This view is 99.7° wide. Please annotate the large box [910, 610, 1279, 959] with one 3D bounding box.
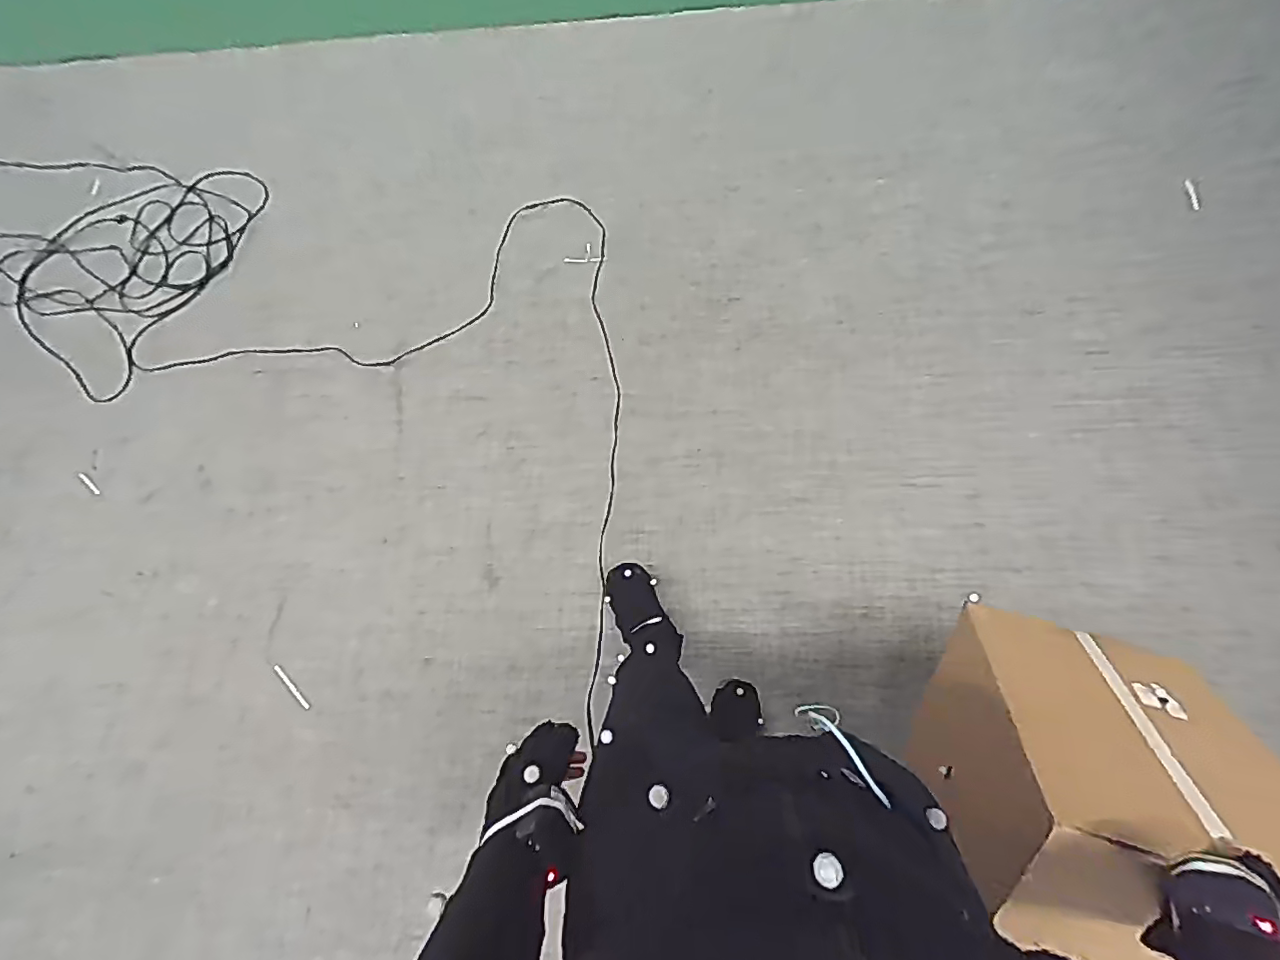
[{"bbox_3d":[0.585,0.444,0.713,0.320,0.408,0.320,15,113,14],"label":"large box"}]
